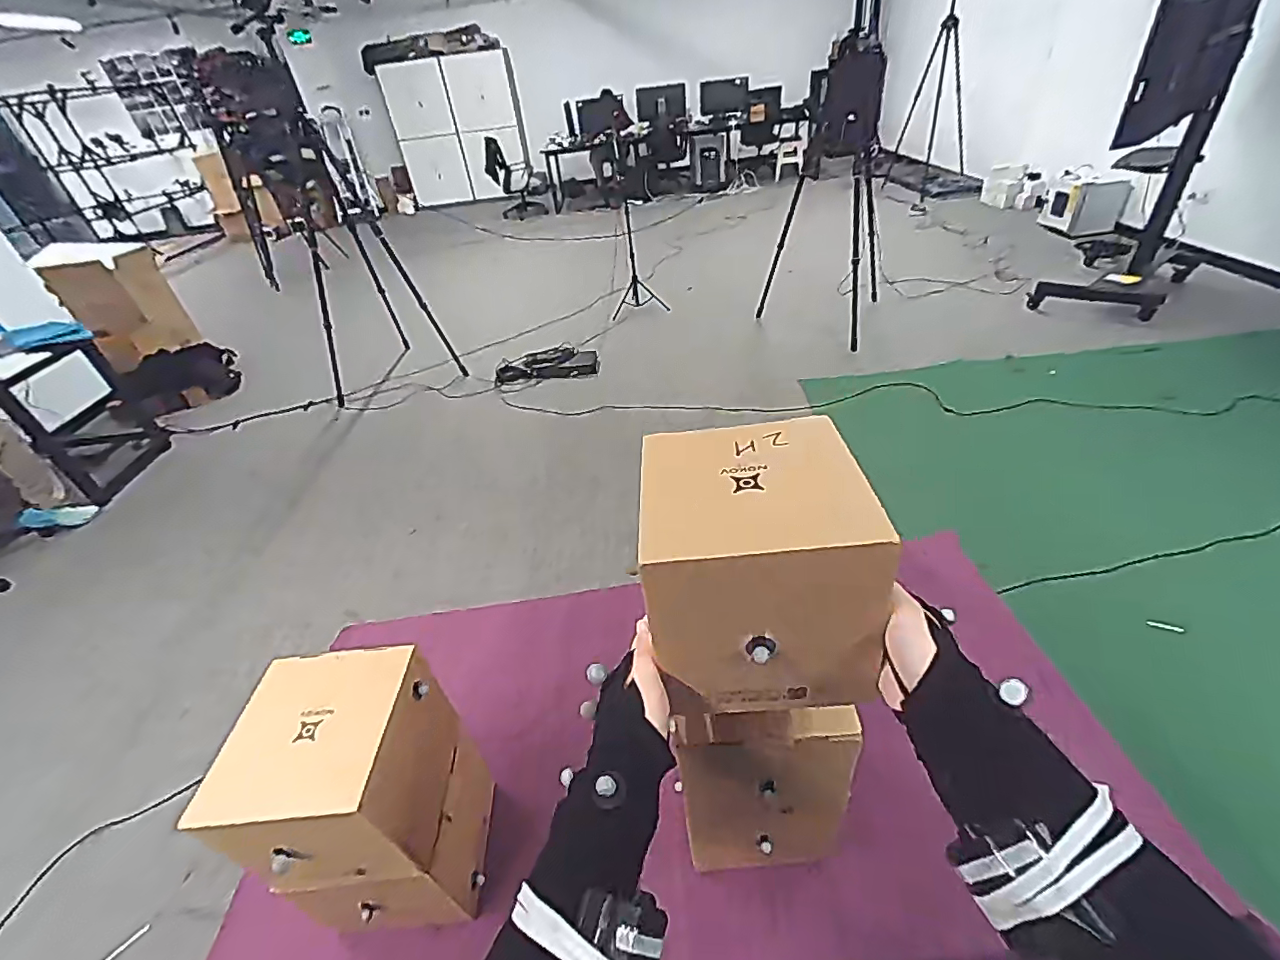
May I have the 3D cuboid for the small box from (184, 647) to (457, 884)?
[{"bbox_3d":[-0.317,0.311,0.588,0.168,0.176,0.179,-7,36,2],"label":"small box"}]

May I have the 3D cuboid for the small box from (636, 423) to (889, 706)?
[{"bbox_3d":[0.093,0.072,0.458,0.168,0.176,0.179,-5,32,6],"label":"small box"}]

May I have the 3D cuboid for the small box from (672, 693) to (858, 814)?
[{"bbox_3d":[0.123,0.244,0.589,0.168,0.176,0.179,-5,38,5],"label":"small box"}]

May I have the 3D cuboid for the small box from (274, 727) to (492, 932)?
[{"bbox_3d":[-0.301,0.441,0.684,0.179,0.176,0.168,-8,37,1],"label":"small box"}]
